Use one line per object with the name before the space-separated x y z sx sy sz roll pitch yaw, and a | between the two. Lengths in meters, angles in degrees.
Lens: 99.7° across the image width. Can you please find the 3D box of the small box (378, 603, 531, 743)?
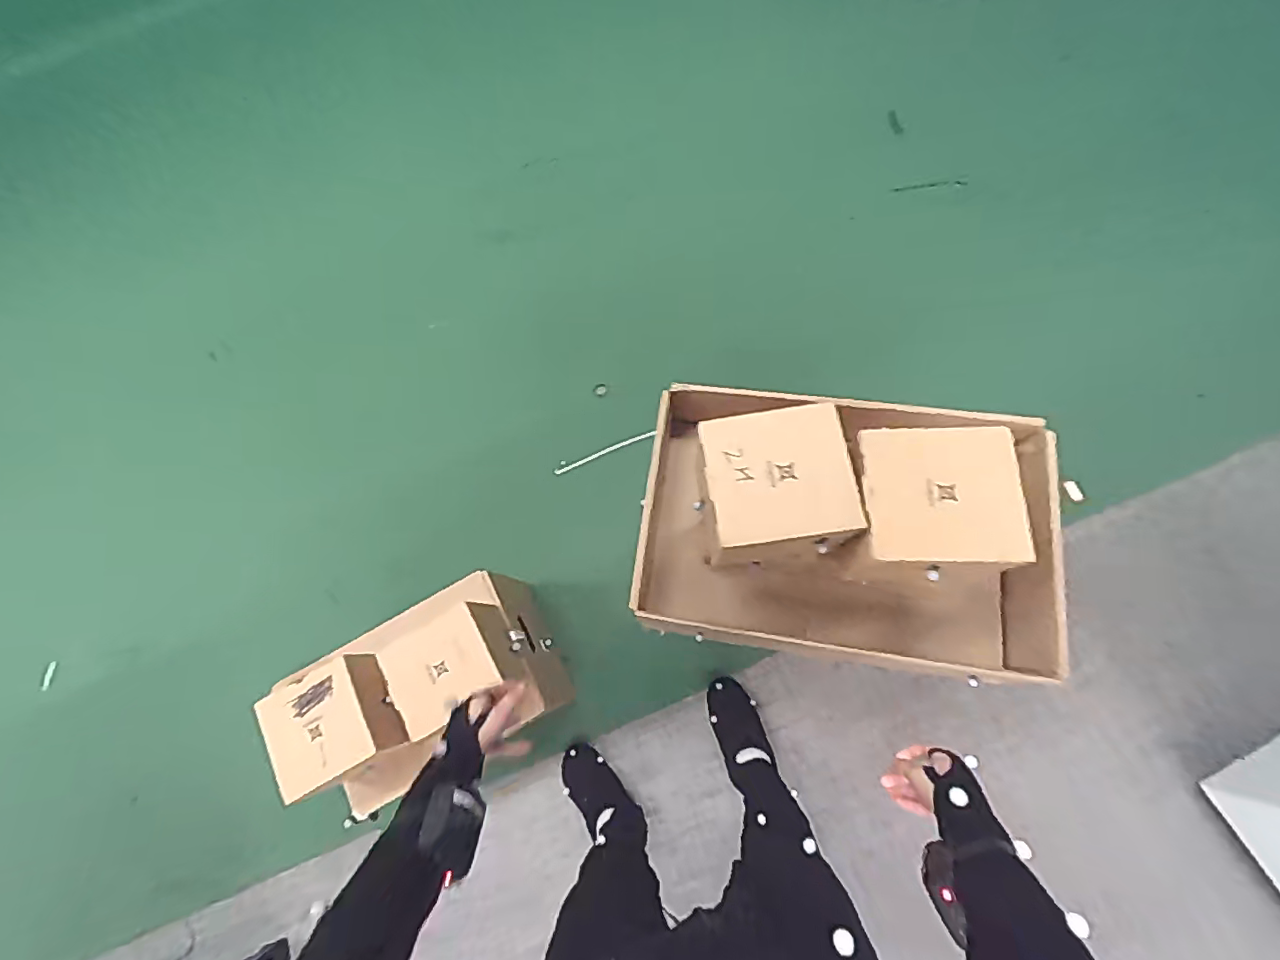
small box | -0.324 0.341 0.974 0.179 0.176 0.168 -30 74 -4

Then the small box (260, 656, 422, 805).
small box | -0.522 0.434 0.964 0.168 0.176 0.179 -29 72 -4
